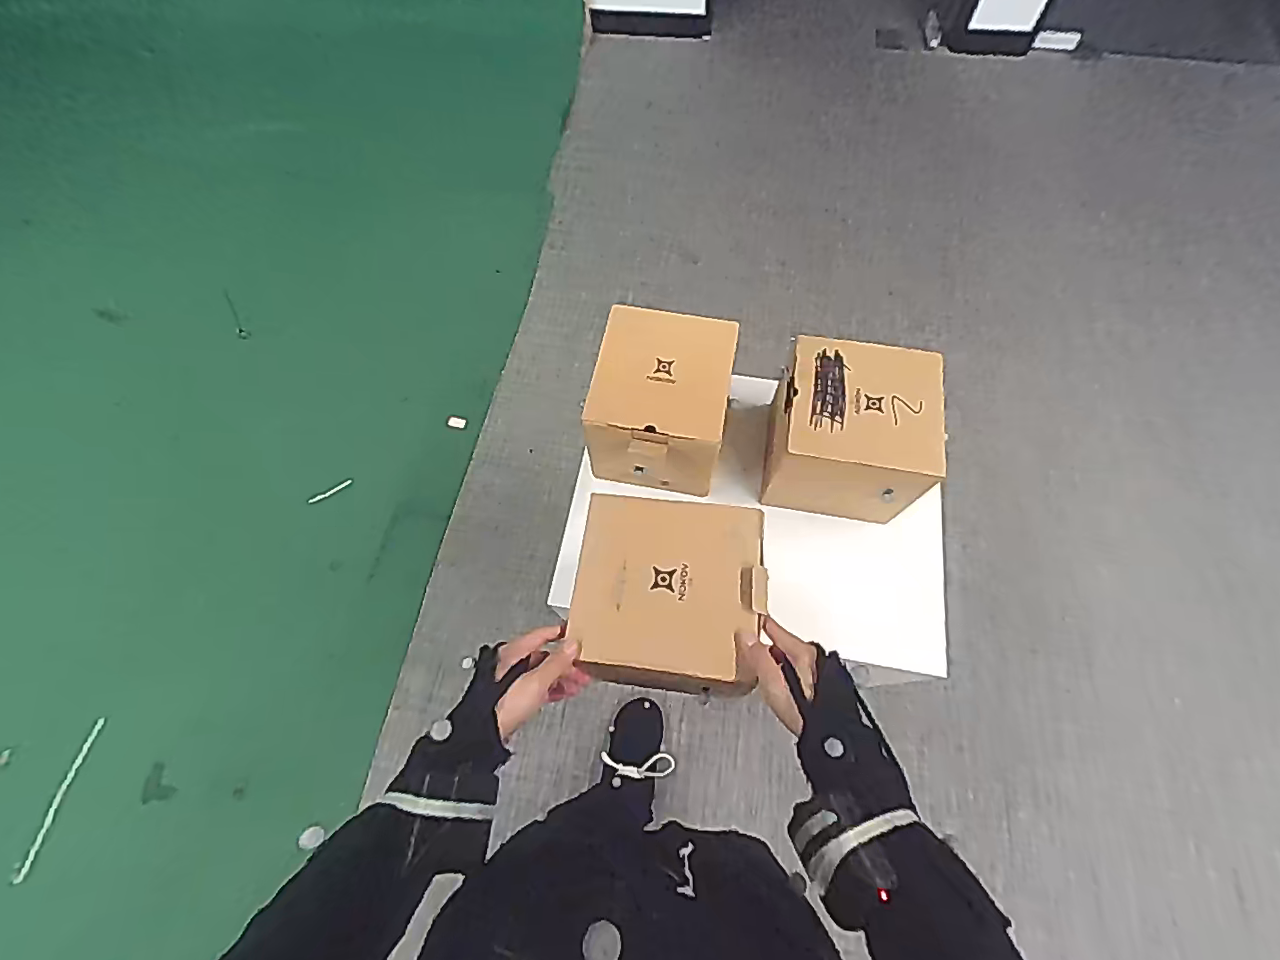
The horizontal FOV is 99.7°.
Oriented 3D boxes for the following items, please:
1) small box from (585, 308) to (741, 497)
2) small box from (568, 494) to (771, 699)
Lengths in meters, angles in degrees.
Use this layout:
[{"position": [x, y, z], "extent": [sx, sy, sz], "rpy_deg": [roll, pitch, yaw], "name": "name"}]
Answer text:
[{"position": [0.030, -0.097, 0.725], "extent": [0.168, 0.176, 0.179], "rpy_deg": [10, 68, 5], "name": "small box"}, {"position": [0.037, 0.131, 0.576], "extent": [0.179, 0.176, 0.168], "rpy_deg": [5, 62, 7], "name": "small box"}]
